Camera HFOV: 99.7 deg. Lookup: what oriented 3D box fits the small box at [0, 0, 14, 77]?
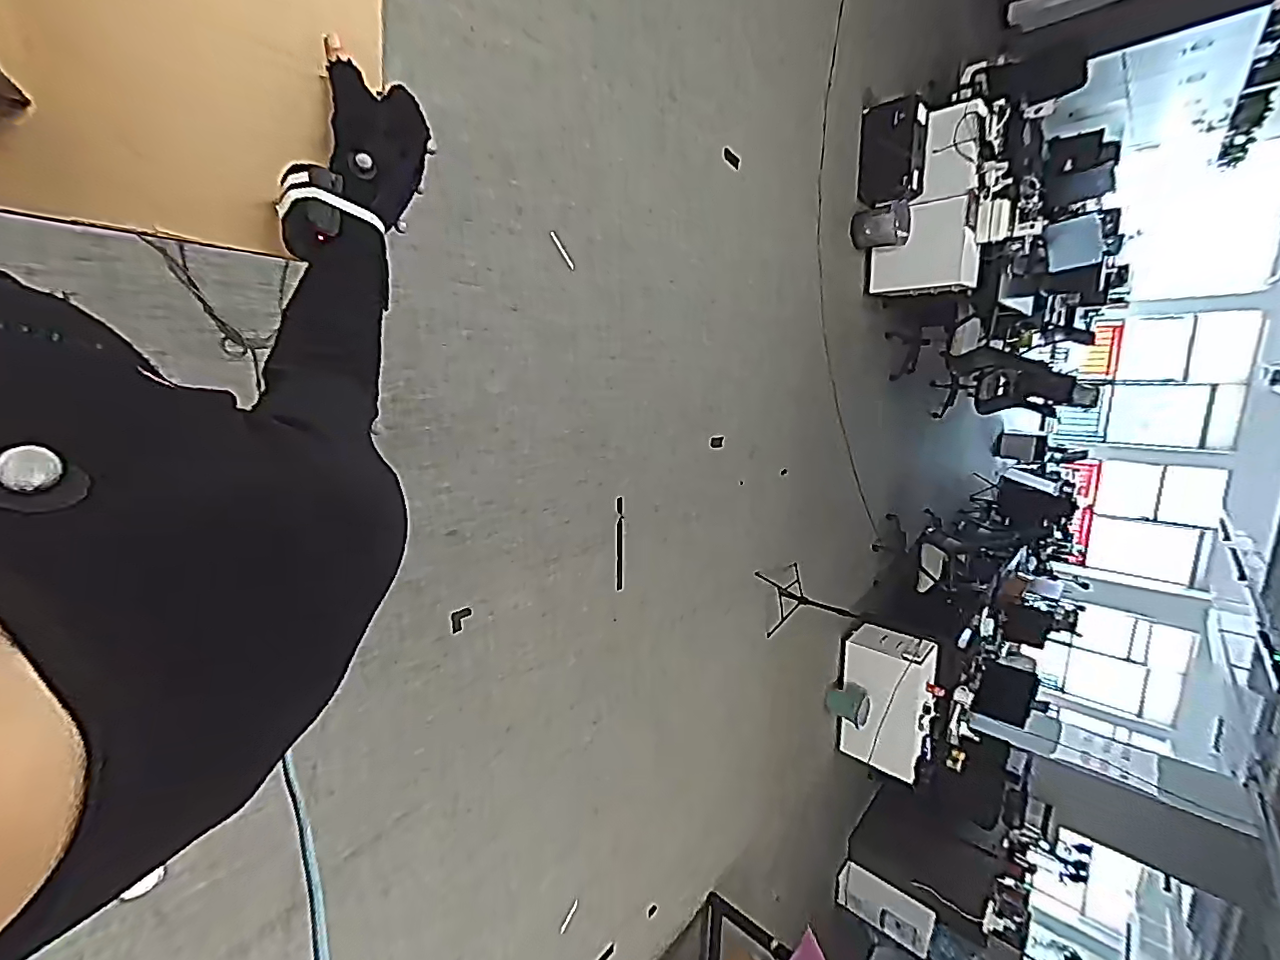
[{"bbox_3d":[-0.441,-0.320,0.252,0.179,0.176,0.168,-3,107,-39],"label":"small box"}]
